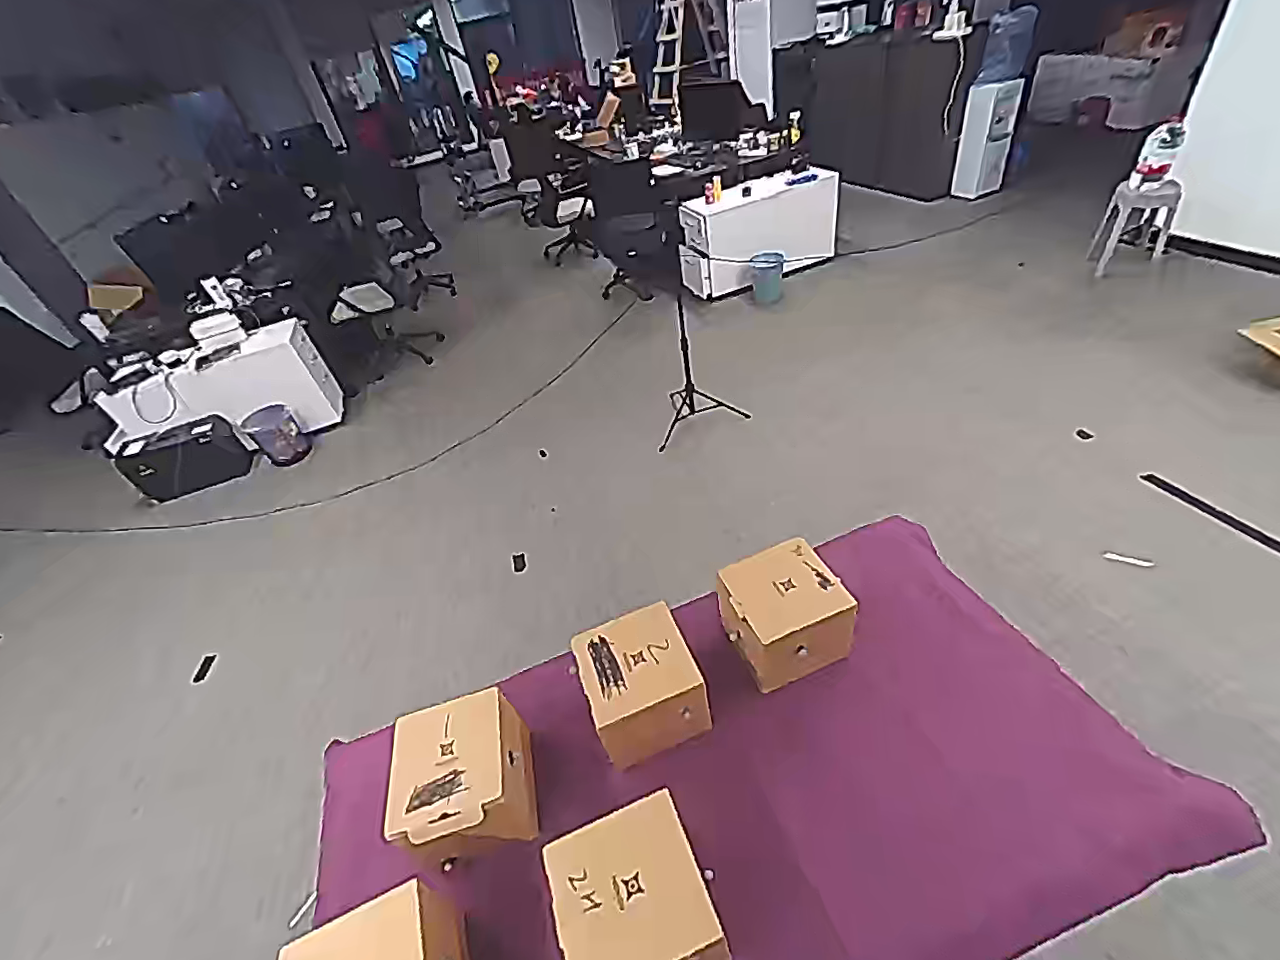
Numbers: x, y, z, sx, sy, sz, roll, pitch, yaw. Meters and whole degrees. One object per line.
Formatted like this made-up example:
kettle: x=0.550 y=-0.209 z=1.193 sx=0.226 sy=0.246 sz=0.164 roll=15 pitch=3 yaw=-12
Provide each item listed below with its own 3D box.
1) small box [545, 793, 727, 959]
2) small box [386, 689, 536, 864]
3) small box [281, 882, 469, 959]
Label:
small box: x=-0.001 y=0.539 z=0.682 sx=0.179 sy=0.176 sz=0.168 roll=-21 pitch=41 yaw=-9
small box: x=-0.267 y=0.464 z=0.838 sx=0.168 sy=0.176 sz=0.179 roll=-16 pitch=40 yaw=-5
small box: x=-0.306 y=0.637 z=0.646 sx=0.168 sy=0.176 sz=0.179 roll=-22 pitch=42 yaw=-13
